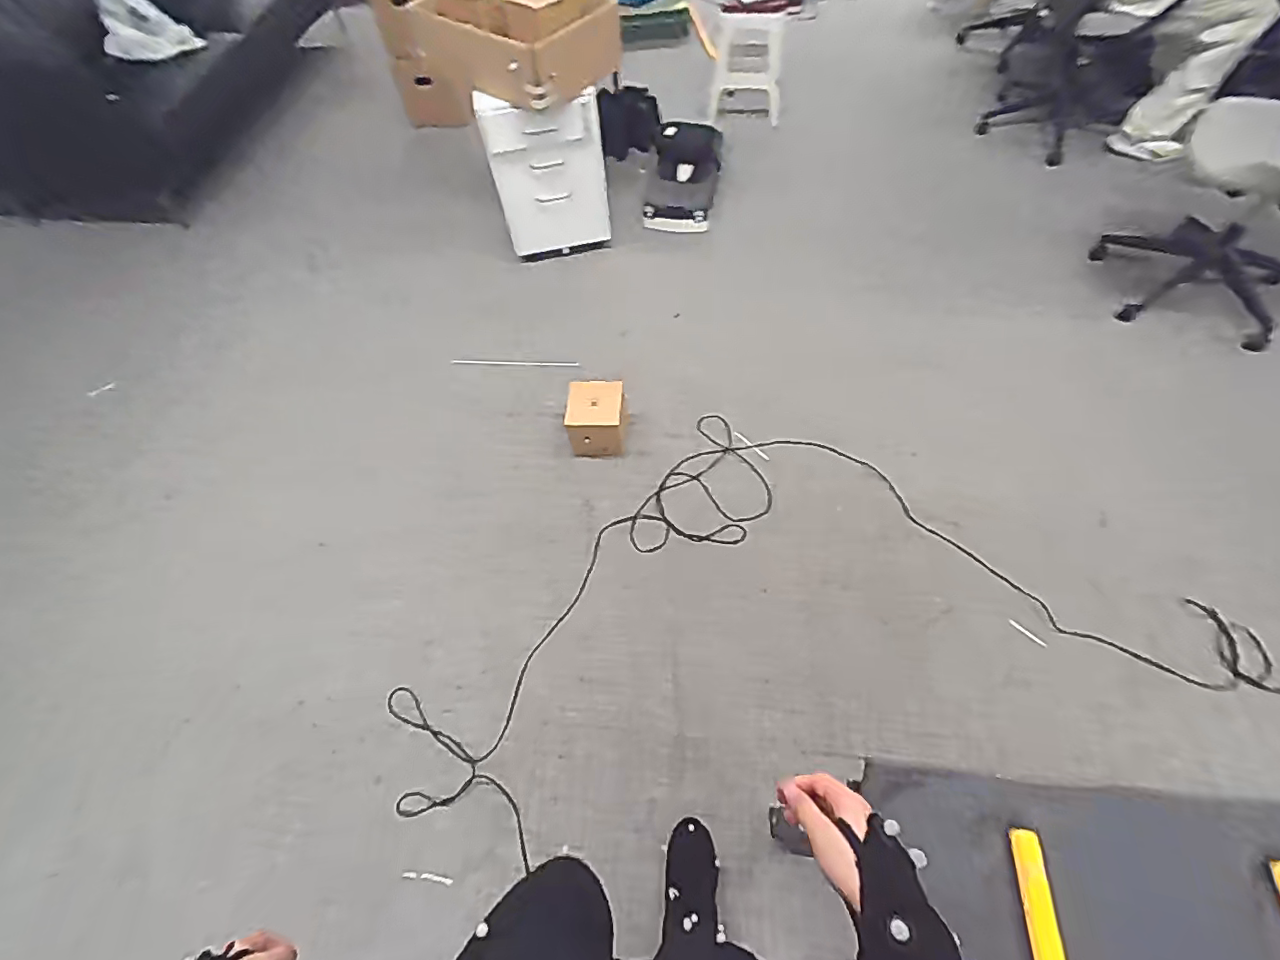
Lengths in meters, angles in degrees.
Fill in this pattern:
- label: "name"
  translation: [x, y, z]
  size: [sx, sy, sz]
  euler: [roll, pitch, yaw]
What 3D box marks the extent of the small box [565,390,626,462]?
- label: "small box"
  translation: [-0.136, -0.169, 1.733]
  size: [0.168, 0.176, 0.179]
  euler: [0, 57, 5]
